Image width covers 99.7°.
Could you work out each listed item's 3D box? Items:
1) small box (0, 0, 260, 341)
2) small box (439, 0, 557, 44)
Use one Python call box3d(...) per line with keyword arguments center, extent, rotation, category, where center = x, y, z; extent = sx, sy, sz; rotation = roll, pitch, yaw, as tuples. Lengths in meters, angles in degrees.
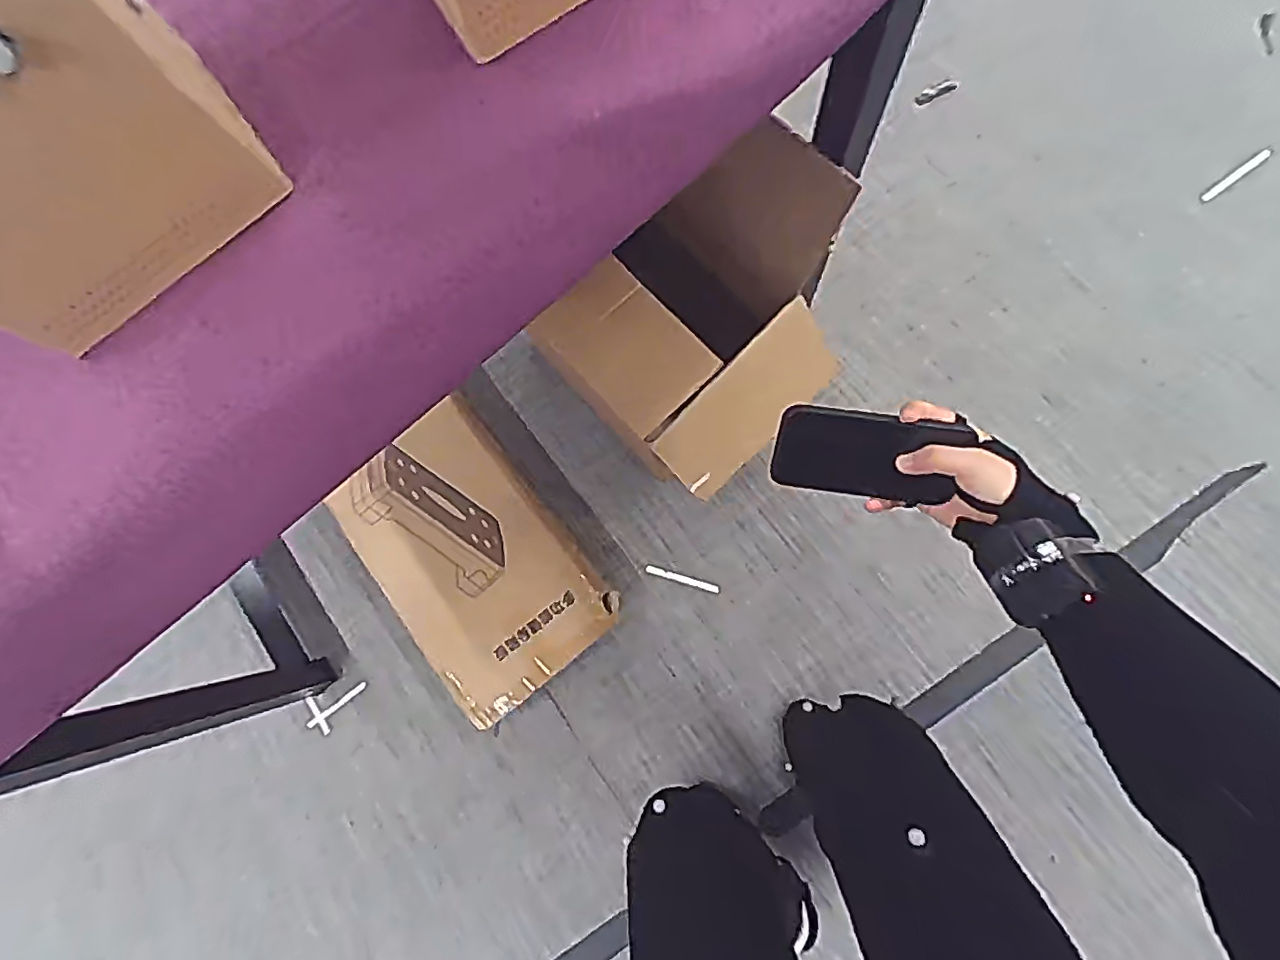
box3d(center=(-0.344, -0.210, 0.279), extent=(0.179, 0.176, 0.168), rotation=(-39, 76, -1), category="small box")
box3d(center=(-0.082, -0.391, 0.281), extent=(0.179, 0.176, 0.168), rotation=(-32, 78, 0), category="small box")
